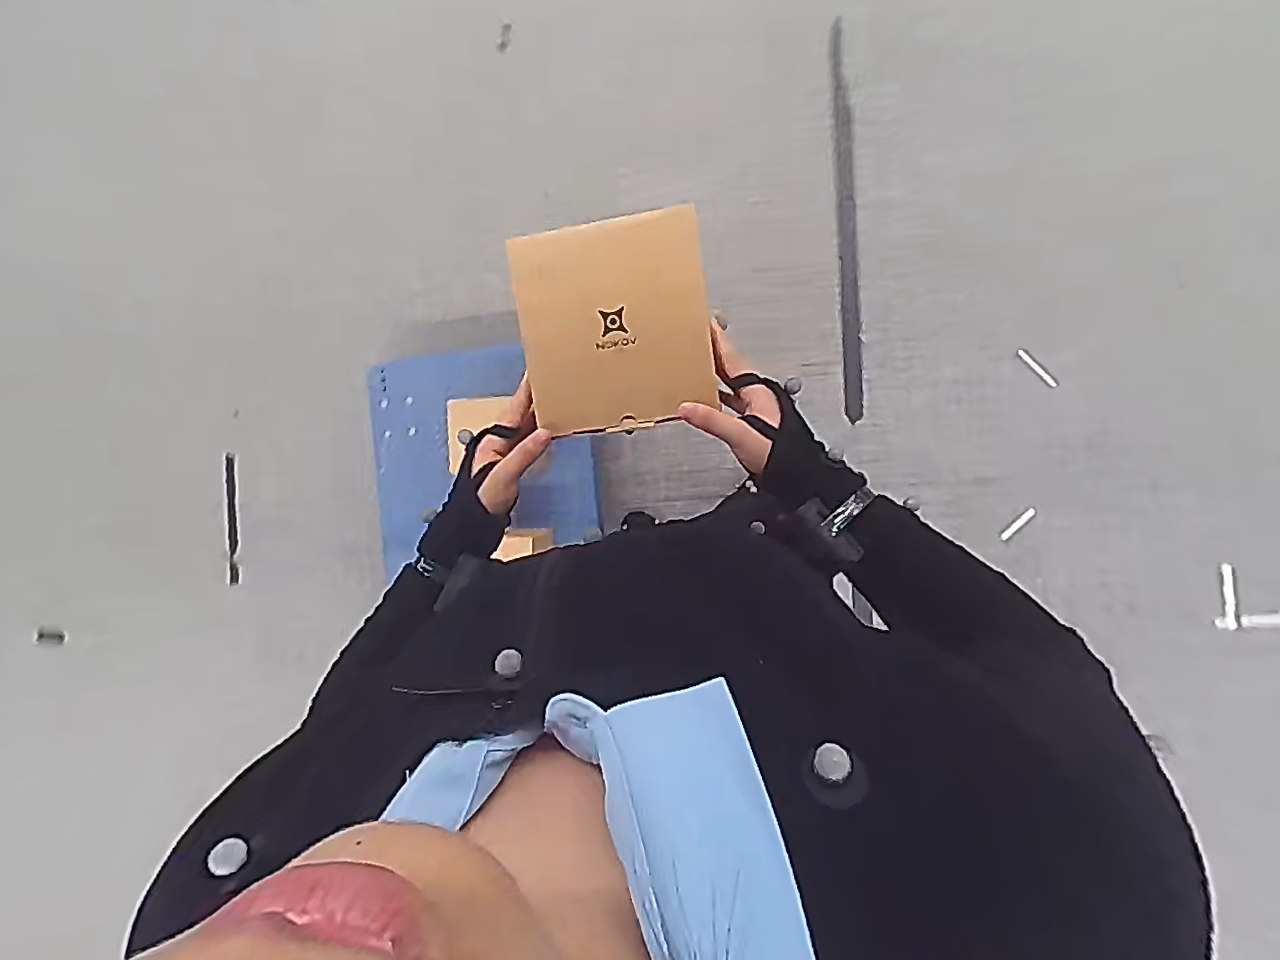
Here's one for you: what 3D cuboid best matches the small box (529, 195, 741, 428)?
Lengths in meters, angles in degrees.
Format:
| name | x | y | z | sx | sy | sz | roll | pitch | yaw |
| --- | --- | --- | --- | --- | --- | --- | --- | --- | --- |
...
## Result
| name | x | y | z | sx | sy | sz | roll | pitch | yaw |
| --- | --- | --- | --- | --- | --- | --- | --- | --- | --- |
| small box | 0.002 | -0.151 | 0.537 | 0.168 | 0.176 | 0.179 | -7 | 100 | 6 |

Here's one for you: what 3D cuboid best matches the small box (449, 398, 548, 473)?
| name | x | y | z | sx | sy | sz | roll | pitch | yaw |
| --- | --- | --- | --- | --- | --- | --- | --- | --- | --- |
| small box | -0.325 | -0.099 | 1.263 | 0.179 | 0.176 | 0.168 | -1 | 92 | 7 |
